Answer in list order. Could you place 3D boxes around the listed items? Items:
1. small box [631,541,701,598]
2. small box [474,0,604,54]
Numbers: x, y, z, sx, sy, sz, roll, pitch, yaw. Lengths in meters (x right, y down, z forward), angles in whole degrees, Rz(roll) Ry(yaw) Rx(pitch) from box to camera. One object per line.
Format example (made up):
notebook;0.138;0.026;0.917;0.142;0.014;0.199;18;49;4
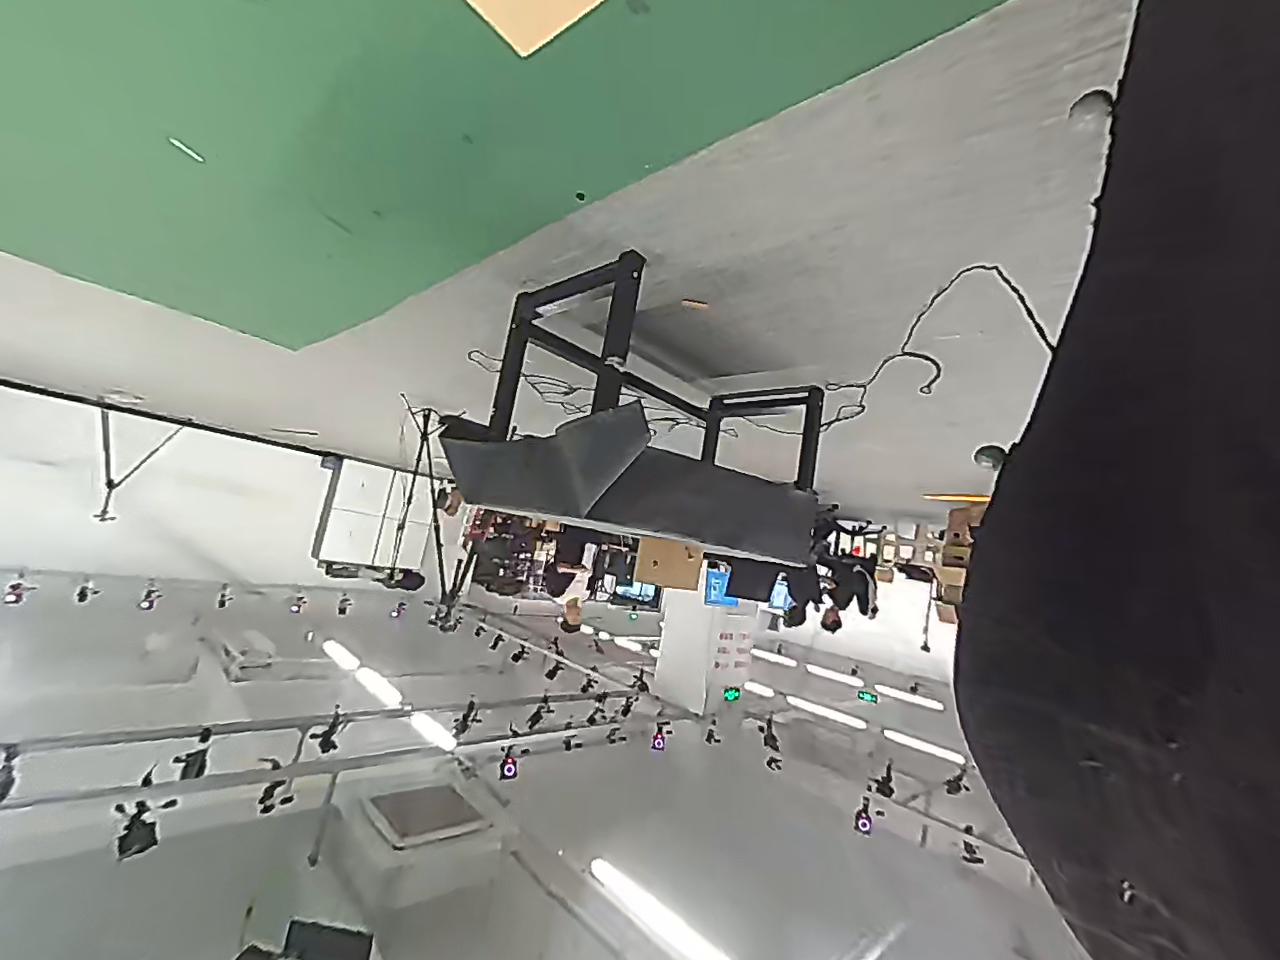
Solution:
small box;0.098;0.316;1.938;0.179;0.176;0.168;2;168;44
small box;-0.083;-0.517;0.436;0.179;0.176;0.168;4;169;41
